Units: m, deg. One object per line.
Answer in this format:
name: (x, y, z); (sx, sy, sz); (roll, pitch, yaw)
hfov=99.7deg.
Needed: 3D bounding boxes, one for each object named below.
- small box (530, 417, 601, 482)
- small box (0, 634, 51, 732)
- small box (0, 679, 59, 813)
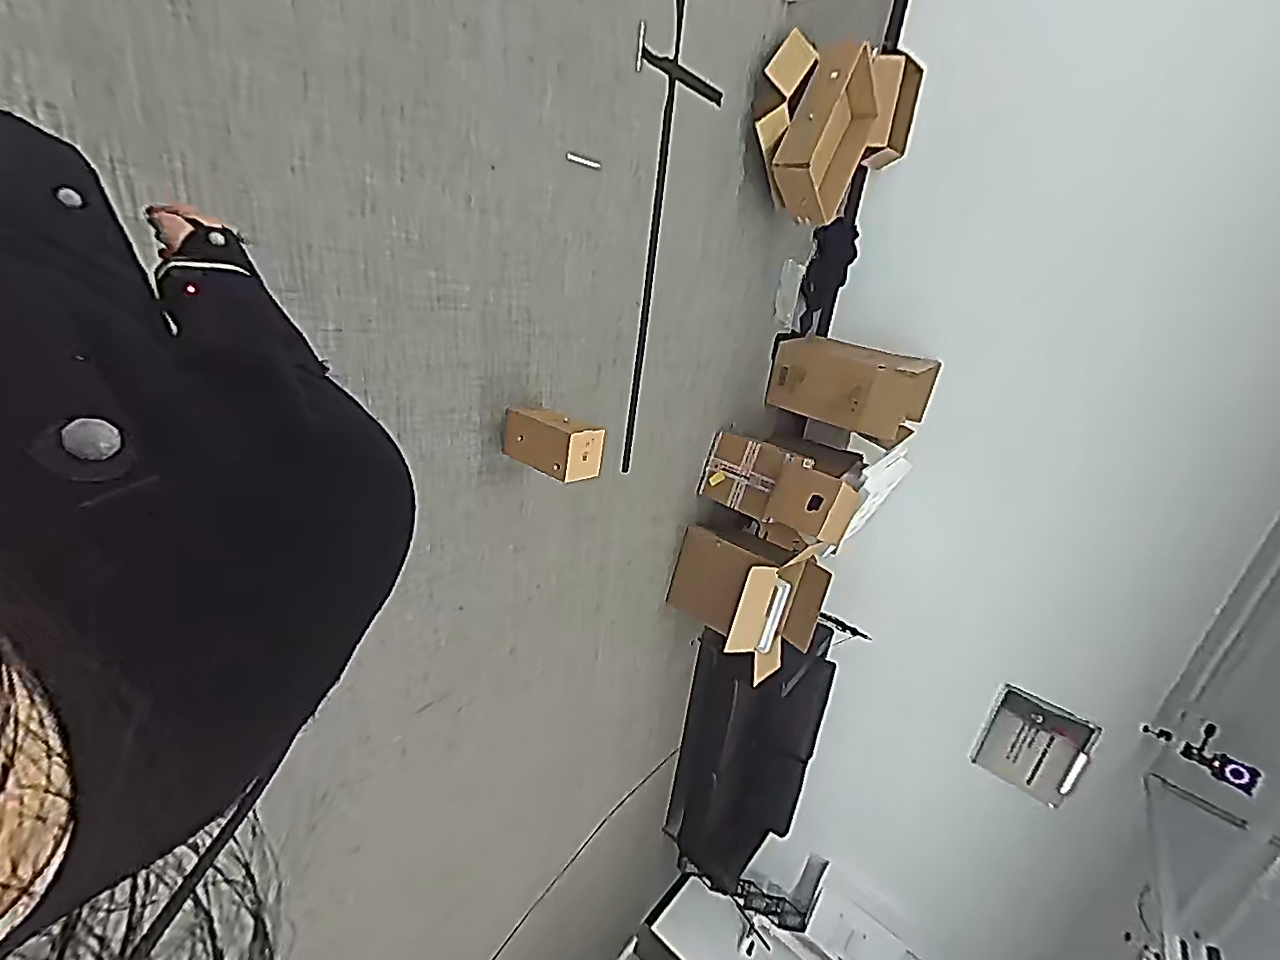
small box: (-0.259, -0.109, 1.860); (0.168, 0.176, 0.179); (-14, 119, -51)
small box: (-1.302, 0.425, 1.048); (0.168, 0.176, 0.179); (-23, 128, -45)
small box: (-1.180, 0.481, 0.952); (0.168, 0.176, 0.179); (-22, 127, -46)
